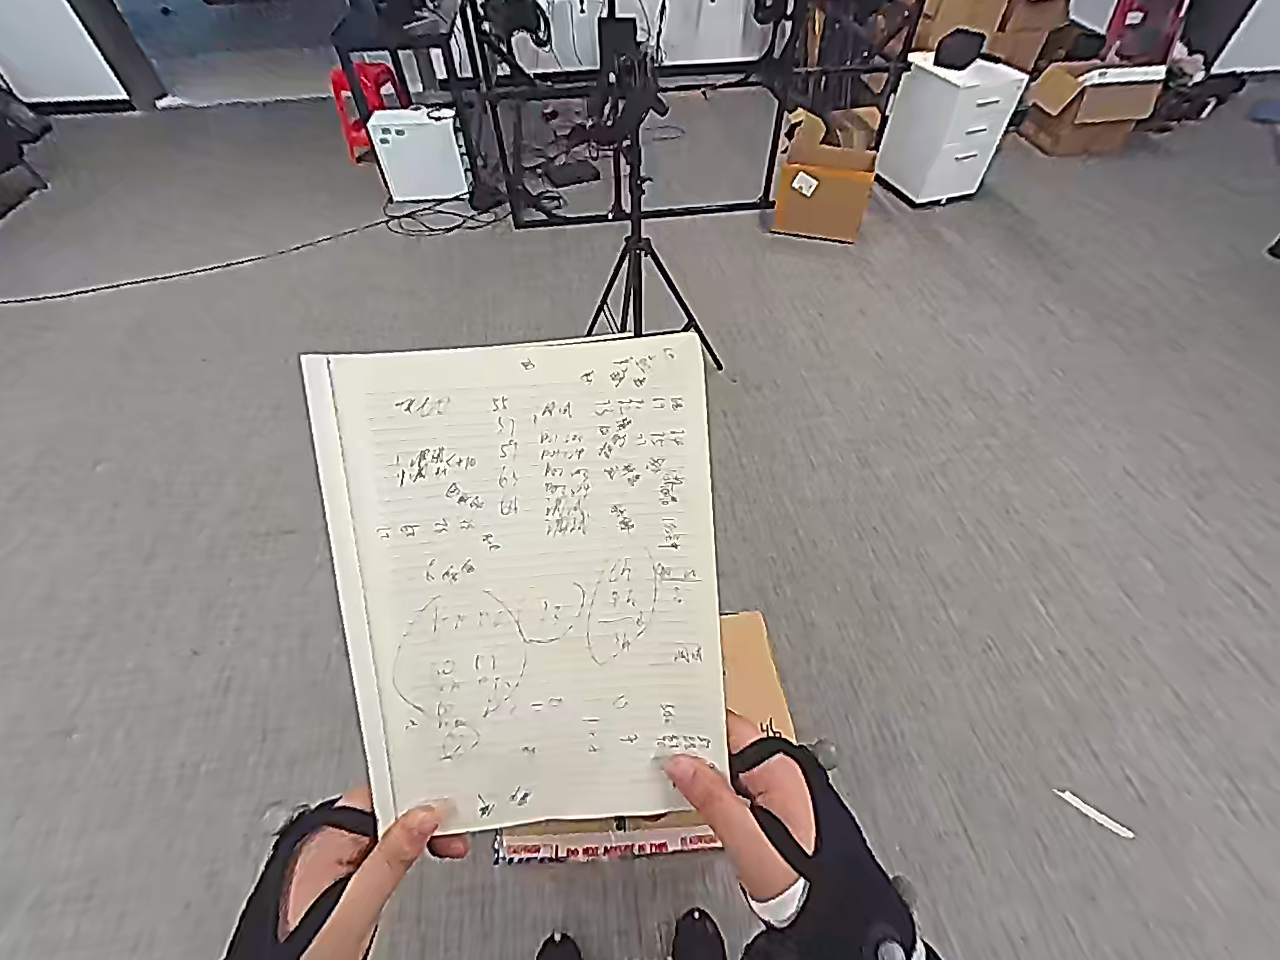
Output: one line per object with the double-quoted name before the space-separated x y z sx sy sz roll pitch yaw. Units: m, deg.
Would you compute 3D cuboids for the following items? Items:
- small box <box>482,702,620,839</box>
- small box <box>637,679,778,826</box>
"small box" -0.122 0.448 0.832 0.179 0.176 0.168 -2 53 2
"small box" 0.093 0.428 0.847 0.179 0.176 0.168 -6 53 -6
